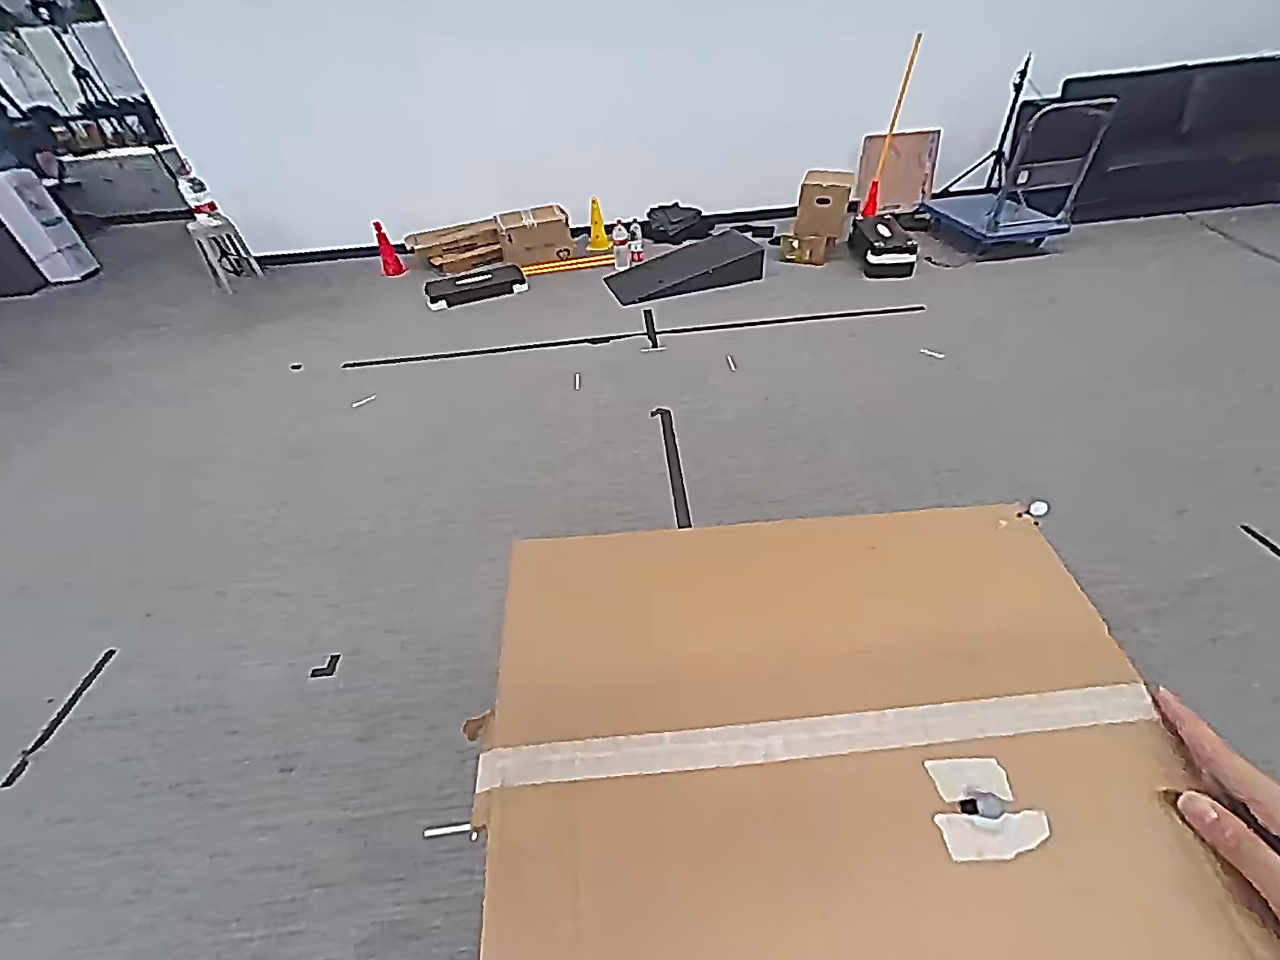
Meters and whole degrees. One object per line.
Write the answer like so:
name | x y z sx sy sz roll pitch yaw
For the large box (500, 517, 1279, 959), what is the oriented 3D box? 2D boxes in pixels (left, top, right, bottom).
large box | 0.116 0.258 0.446 0.408 0.320 0.320 -4 51 -4
